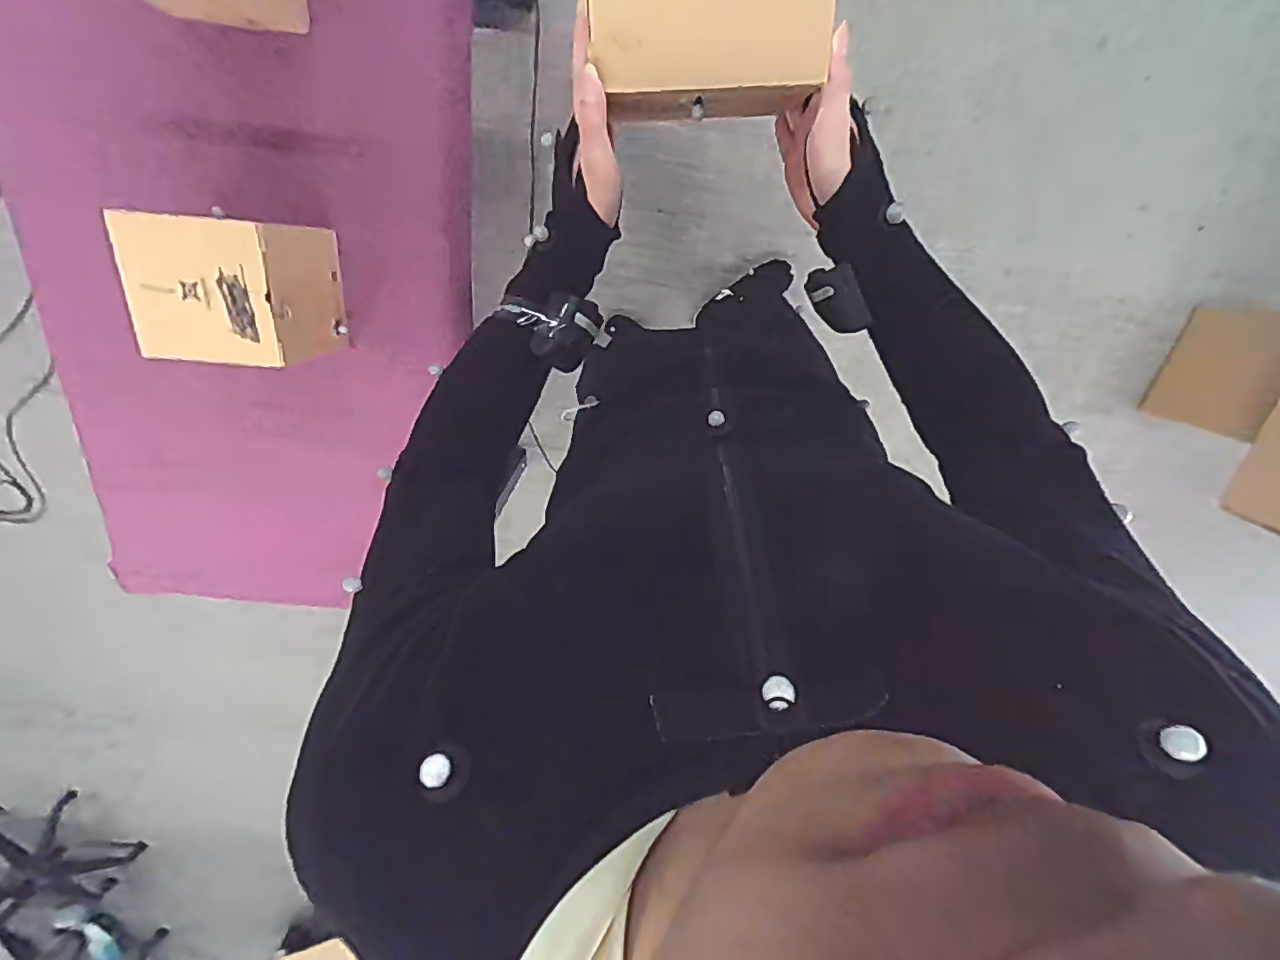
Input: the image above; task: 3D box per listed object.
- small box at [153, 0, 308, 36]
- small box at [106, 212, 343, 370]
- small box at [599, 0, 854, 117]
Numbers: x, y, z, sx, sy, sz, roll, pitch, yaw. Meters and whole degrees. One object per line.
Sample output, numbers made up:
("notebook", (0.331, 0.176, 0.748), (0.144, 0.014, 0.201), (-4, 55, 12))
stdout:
("small box", (-0.477, -0.606, 0.557), (0.168, 0.176, 0.179), (6, 112, -2))
("small box", (-0.513, -0.247, 0.706), (0.179, 0.176, 0.168), (4, 112, -1))
("small box", (0.061, -0.395, 0.424), (0.179, 0.176, 0.168), (-1, 117, 2))
